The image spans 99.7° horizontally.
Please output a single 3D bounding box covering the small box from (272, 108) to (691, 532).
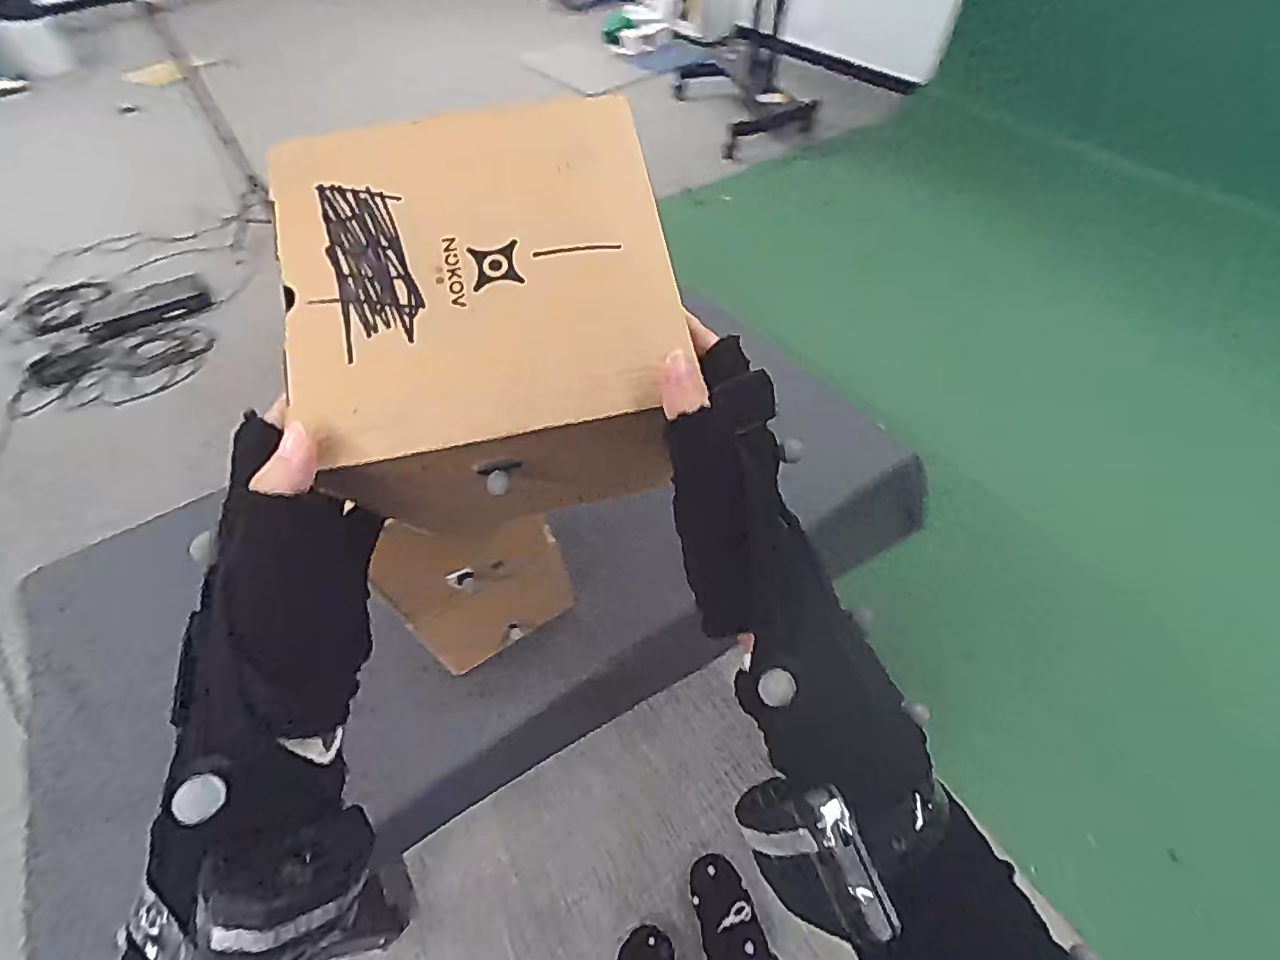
[{"bbox_3d":[-0.077,-0.071,0.321,0.179,0.176,0.168,-11,77,-4],"label":"small box"}]

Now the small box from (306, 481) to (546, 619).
[{"bbox_3d":[-0.220,0.011,0.561,0.168,0.176,0.179,-32,58,-16],"label":"small box"}]

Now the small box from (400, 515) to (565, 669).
[{"bbox_3d":[-0.208,0.107,0.692,0.179,0.176,0.168,-29,56,-18],"label":"small box"}]
